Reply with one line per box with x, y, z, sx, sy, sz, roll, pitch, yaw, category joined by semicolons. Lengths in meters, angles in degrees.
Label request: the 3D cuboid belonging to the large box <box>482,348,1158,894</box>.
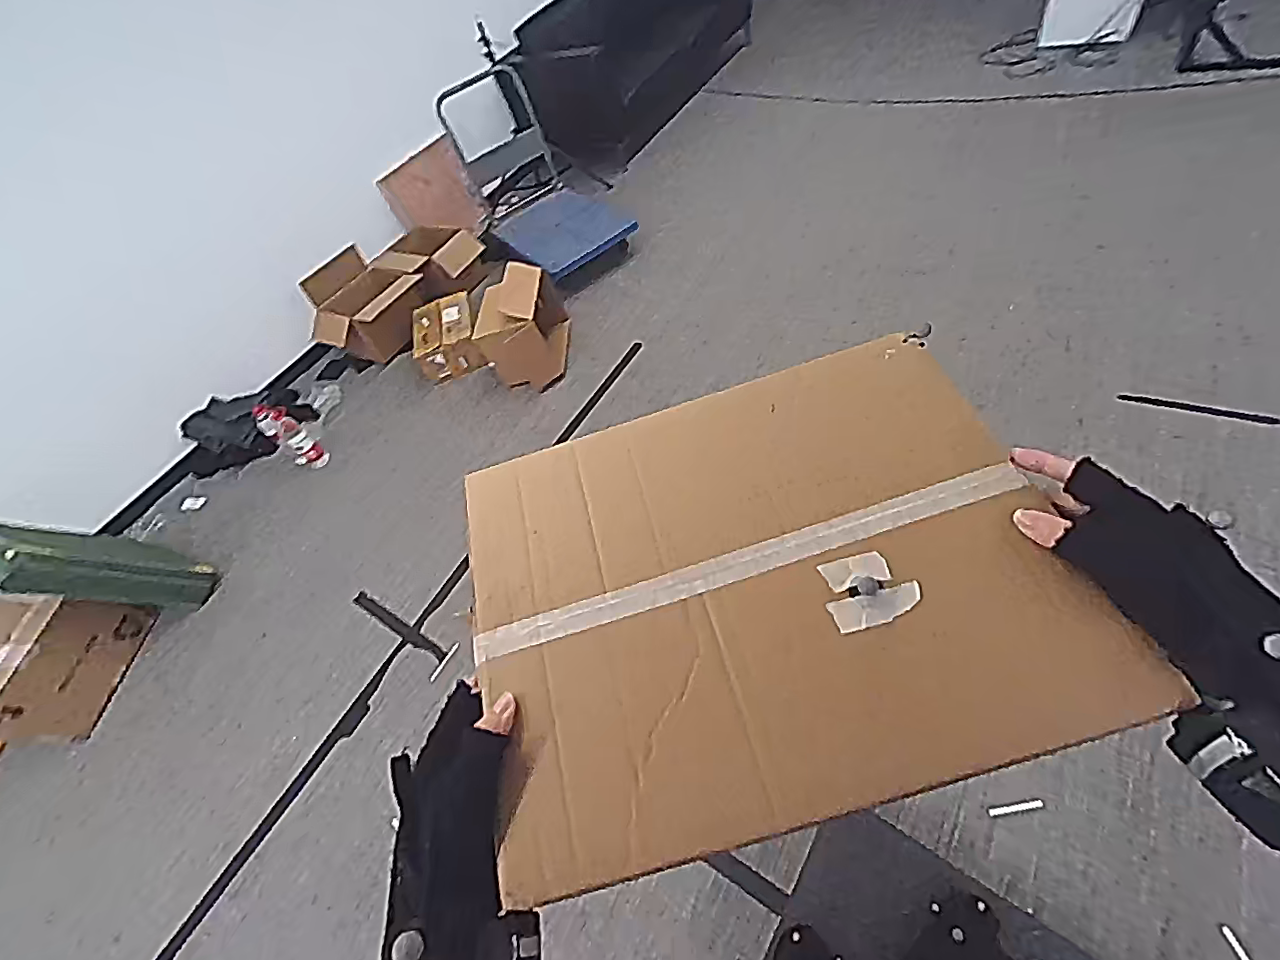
0.108;0.142;0.525;0.408;0.320;0.320;-18;58;1;large box
